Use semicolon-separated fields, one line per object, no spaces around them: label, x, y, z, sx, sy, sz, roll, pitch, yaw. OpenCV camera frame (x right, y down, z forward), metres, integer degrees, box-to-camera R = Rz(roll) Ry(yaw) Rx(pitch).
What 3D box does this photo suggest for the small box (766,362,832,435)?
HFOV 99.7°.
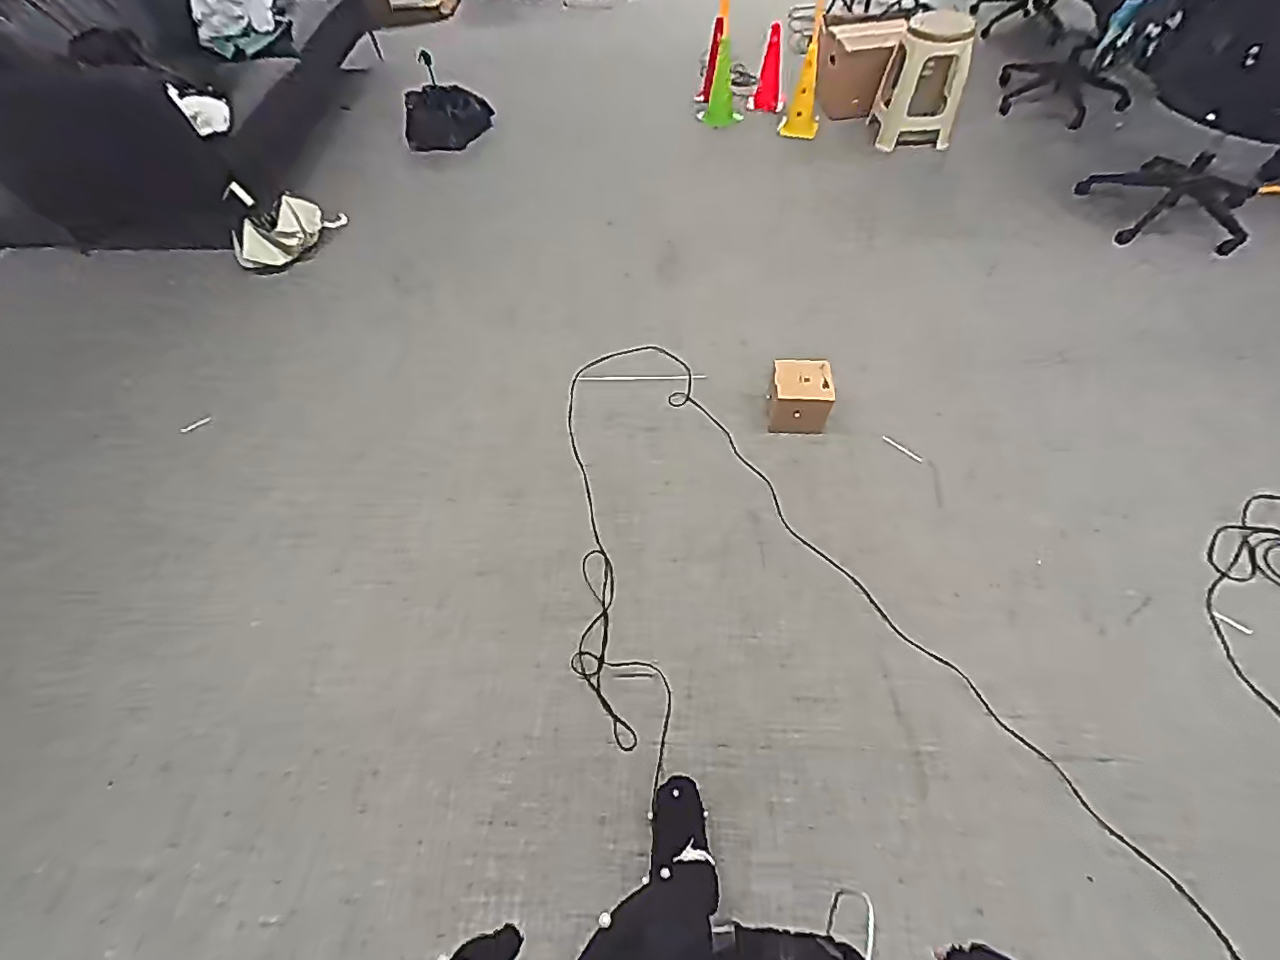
small box;0.504;-0.261;1.745;0.179;0.176;0.168;2;58;4
